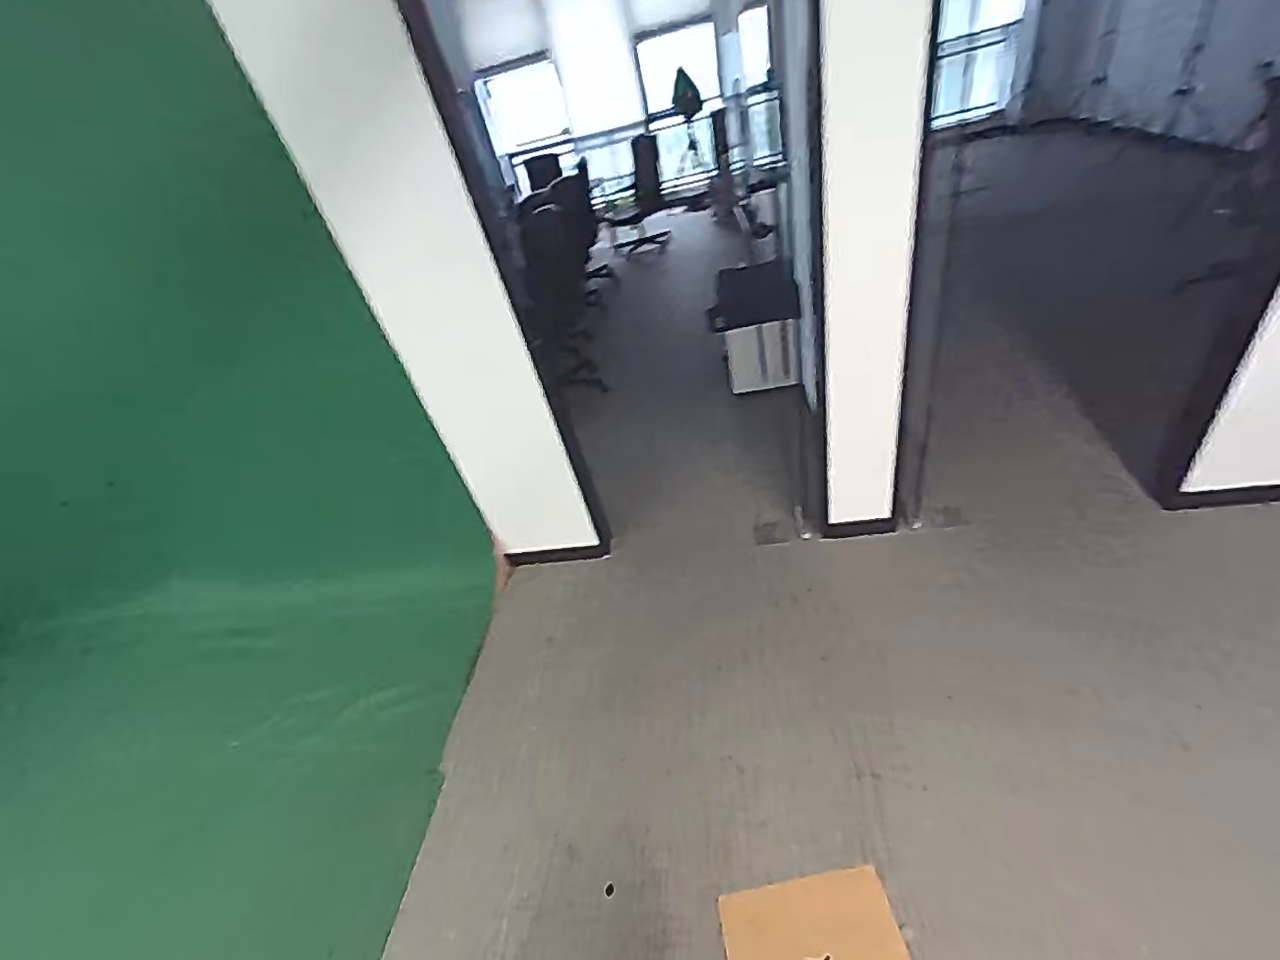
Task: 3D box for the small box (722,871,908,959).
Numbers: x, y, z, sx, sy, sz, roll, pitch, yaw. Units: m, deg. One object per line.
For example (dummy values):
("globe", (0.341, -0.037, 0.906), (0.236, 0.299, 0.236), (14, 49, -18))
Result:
("small box", (0.181, 0.518, 0.515), (0.168, 0.176, 0.179), (-14, 27, 11))
